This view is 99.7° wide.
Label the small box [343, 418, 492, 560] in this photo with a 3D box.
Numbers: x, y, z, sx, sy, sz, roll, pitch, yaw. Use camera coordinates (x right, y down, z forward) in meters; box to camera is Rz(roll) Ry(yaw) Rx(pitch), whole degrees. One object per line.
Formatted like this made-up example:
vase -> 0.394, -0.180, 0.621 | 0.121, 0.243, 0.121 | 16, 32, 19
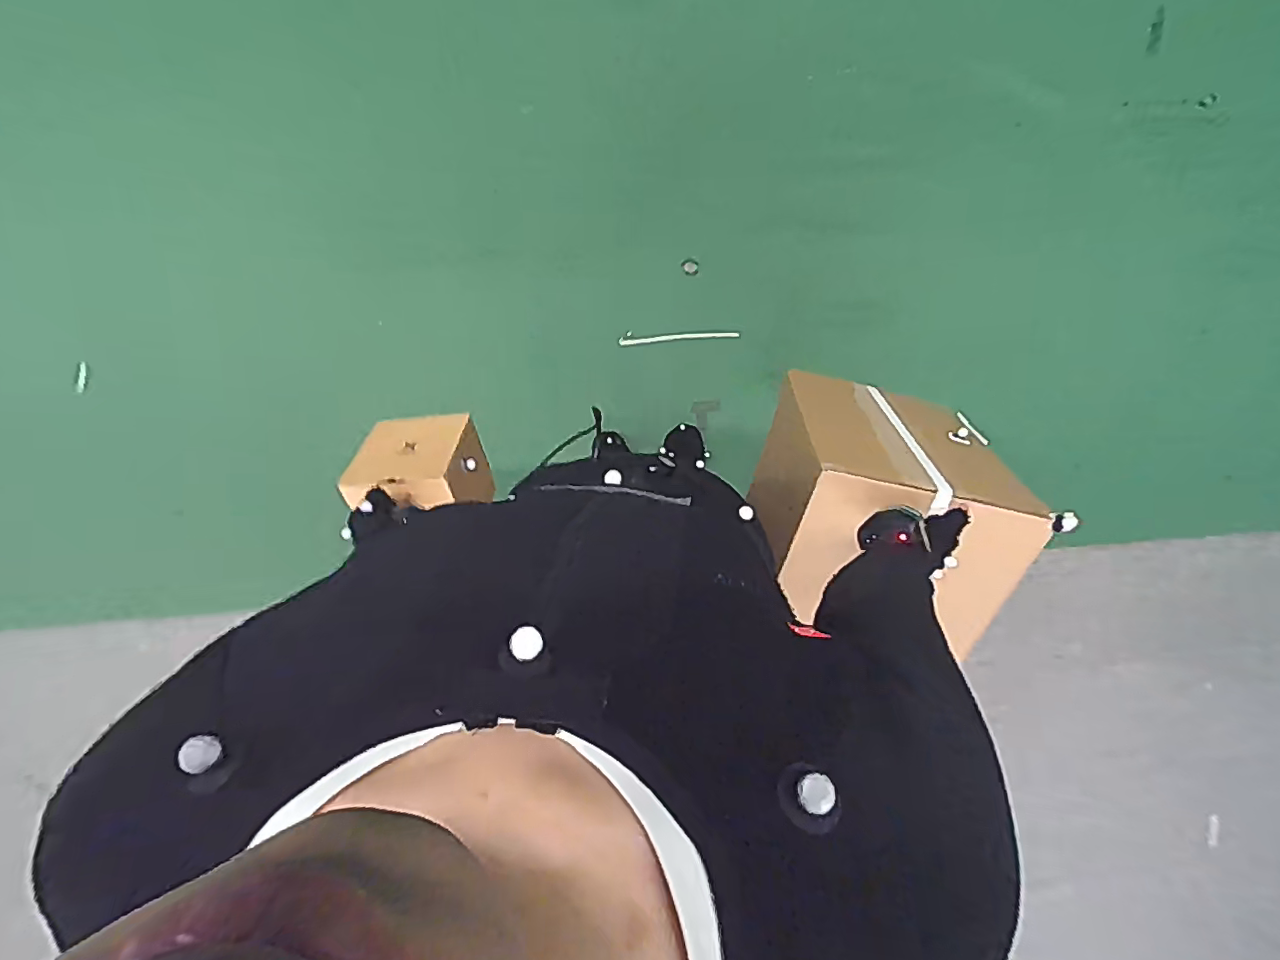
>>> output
small box -> -0.364, 0.015, 0.927 | 0.168, 0.179, 0.176 | -6, 130, 3
